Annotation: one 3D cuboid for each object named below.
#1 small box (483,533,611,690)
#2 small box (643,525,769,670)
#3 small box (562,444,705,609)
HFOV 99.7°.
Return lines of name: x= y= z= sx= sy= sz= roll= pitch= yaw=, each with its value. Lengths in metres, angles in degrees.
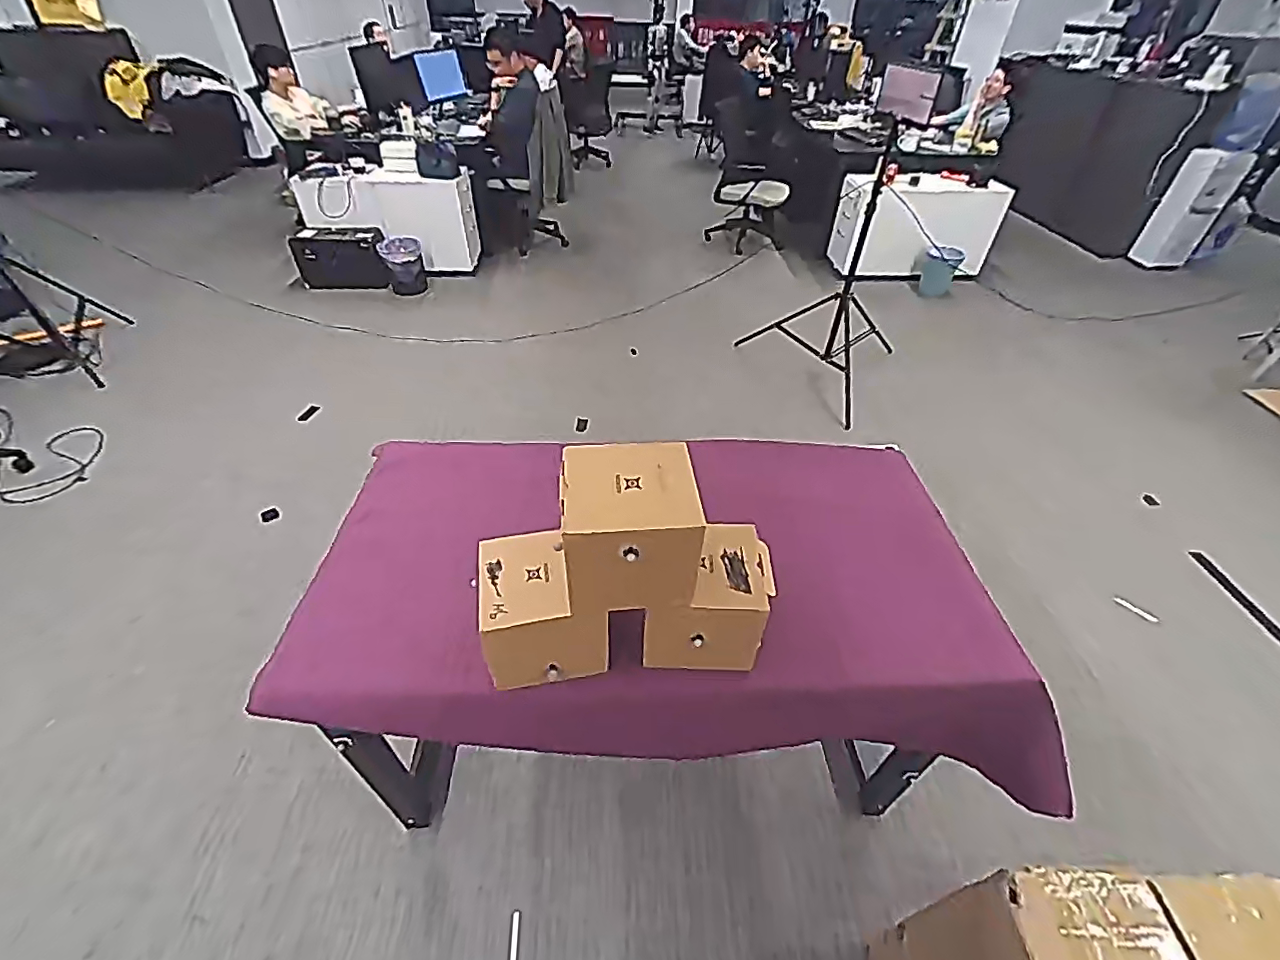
small box: x=-0.146 y=0.202 z=0.846 sx=0.179 sy=0.176 sz=0.168 roll=-6 pitch=41 yaw=-11
small box: x=0.097 y=0.189 z=0.868 sx=0.179 sy=0.176 sz=0.168 roll=2 pitch=41 yaw=1
small box: x=-0.015 y=0.067 z=0.758 sx=0.179 sy=0.176 sz=0.168 roll=-2 pitch=43 yaw=-6
